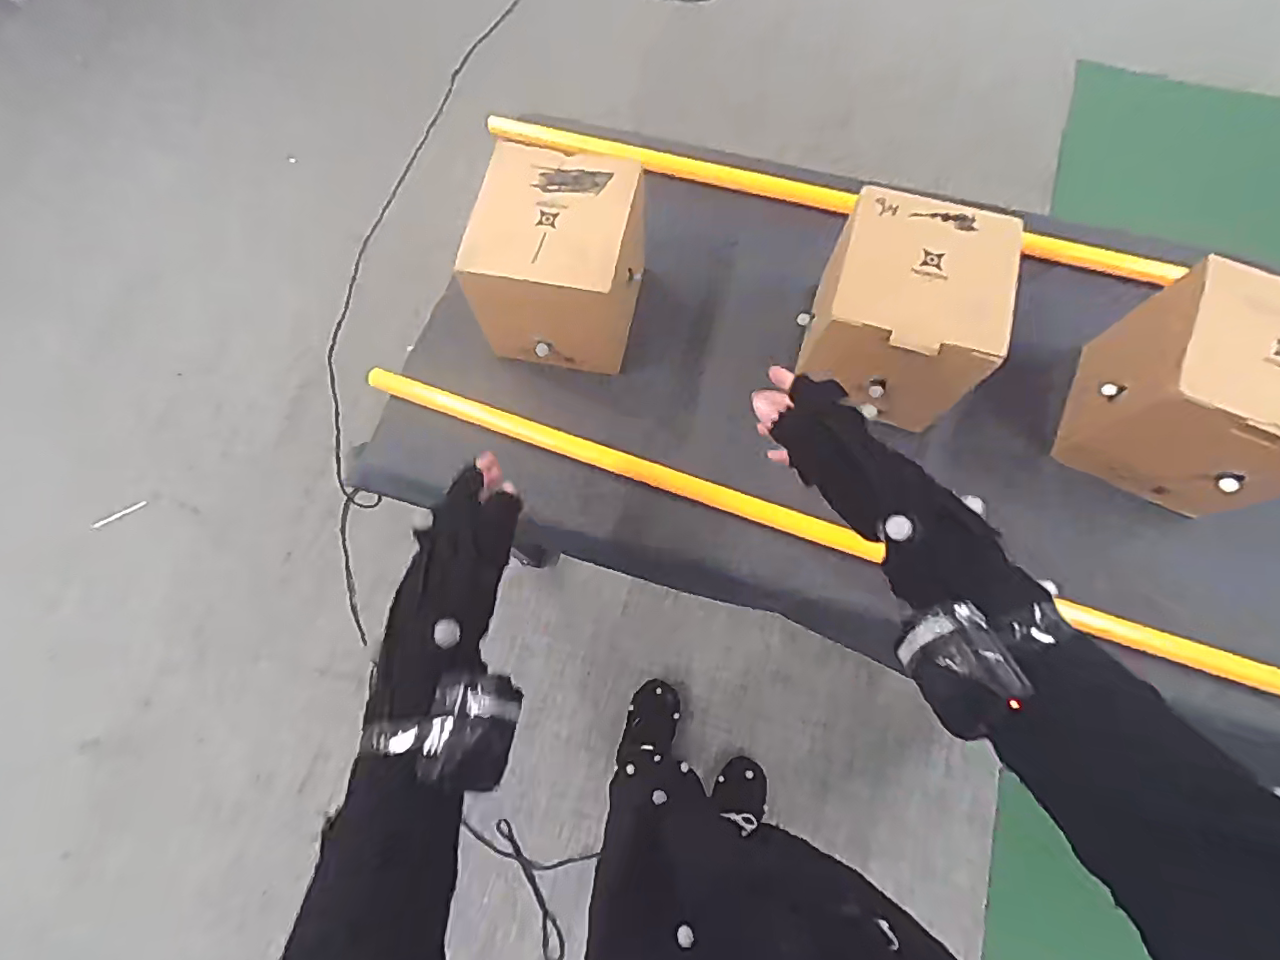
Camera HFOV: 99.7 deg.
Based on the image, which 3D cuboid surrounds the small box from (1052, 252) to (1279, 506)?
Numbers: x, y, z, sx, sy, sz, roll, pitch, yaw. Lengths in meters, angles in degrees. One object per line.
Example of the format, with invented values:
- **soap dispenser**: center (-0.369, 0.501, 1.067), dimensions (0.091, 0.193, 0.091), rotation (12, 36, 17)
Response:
- **small box**: center (0.589, -0.094, 0.575), dimensions (0.168, 0.176, 0.179), rotation (26, 73, 8)

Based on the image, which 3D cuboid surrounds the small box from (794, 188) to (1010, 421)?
- **small box**: center (0.283, -0.188, 0.616), dimensions (0.168, 0.176, 0.179), rotation (14, 72, 7)

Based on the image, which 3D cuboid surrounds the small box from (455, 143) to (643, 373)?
- **small box**: center (-0.092, -0.254, 0.643), dimensions (0.168, 0.176, 0.179), rotation (10, 73, 5)
